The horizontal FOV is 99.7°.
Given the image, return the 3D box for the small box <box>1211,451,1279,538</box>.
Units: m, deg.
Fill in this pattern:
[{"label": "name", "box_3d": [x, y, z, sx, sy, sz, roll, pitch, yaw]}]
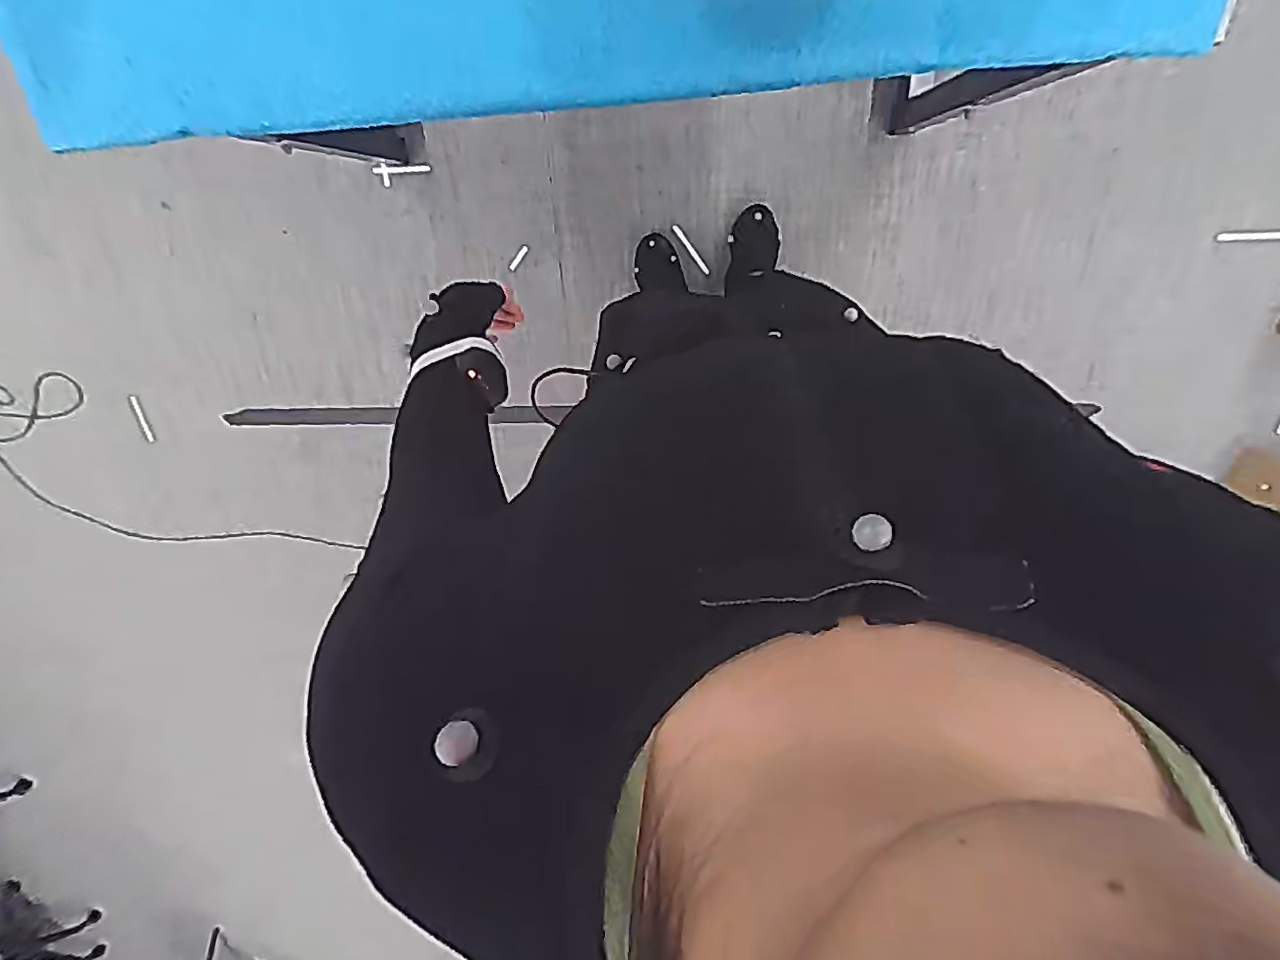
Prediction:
[{"label": "small box", "box_3d": [1.679, 0.044, 1.409, 0.168, 0.176, 0.179, 14, 118, -4]}]
